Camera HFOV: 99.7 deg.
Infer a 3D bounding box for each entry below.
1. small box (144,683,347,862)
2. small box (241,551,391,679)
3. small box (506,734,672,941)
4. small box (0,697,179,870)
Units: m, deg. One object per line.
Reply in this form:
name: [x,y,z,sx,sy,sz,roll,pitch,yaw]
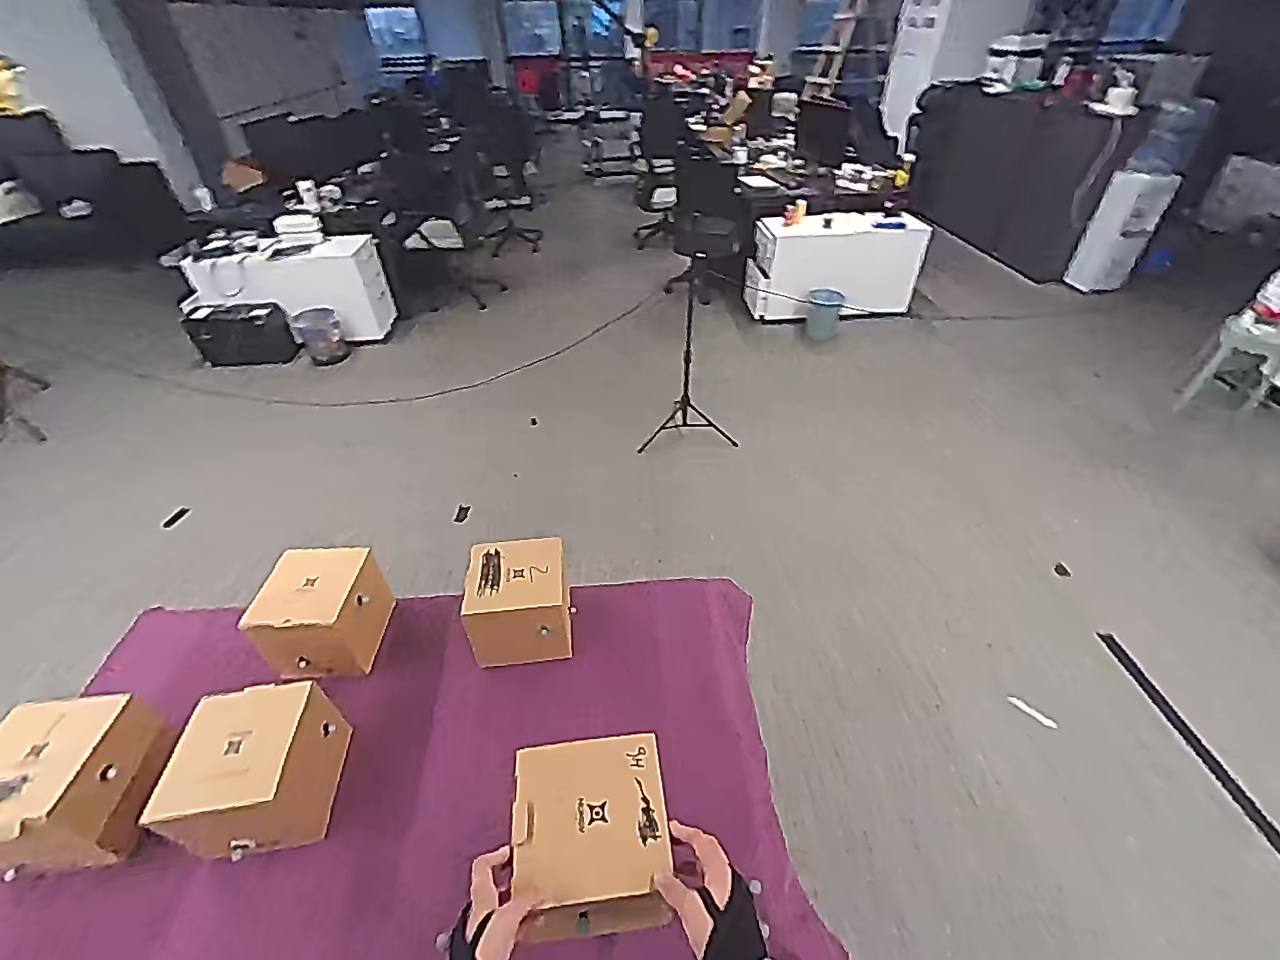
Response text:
small box: [-0.570,0.439,0.817,0.168,0.176,0.179,-7,40,-5]
small box: [-0.597,0.255,1.030,0.168,0.176,0.179,-1,41,-1]
small box: [-0.057,0.441,0.668,0.179,0.176,0.168,-5,42,-4]
small box: [-0.843,0.454,0.805,0.168,0.176,0.179,-4,39,-4]
